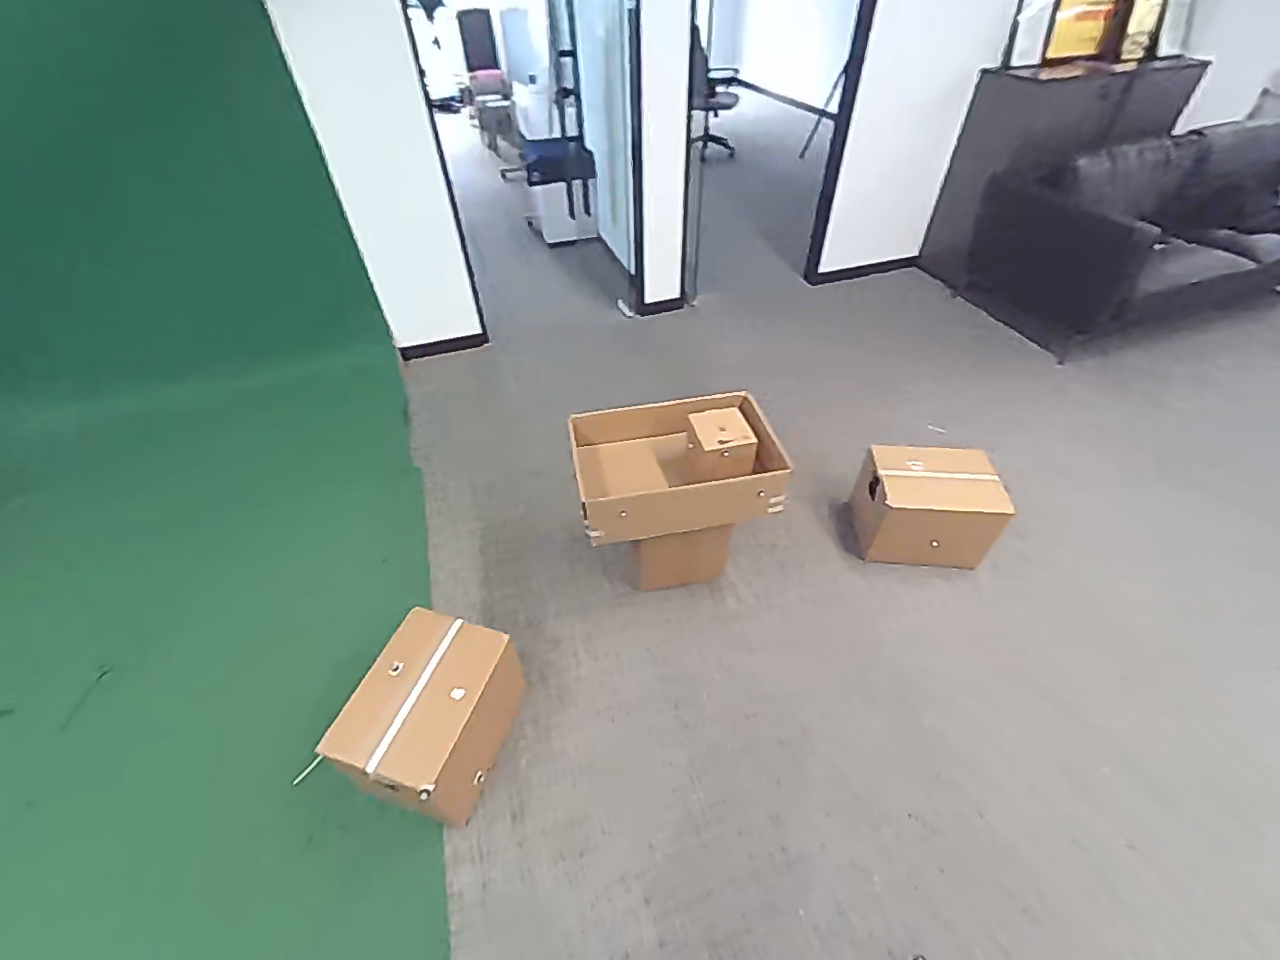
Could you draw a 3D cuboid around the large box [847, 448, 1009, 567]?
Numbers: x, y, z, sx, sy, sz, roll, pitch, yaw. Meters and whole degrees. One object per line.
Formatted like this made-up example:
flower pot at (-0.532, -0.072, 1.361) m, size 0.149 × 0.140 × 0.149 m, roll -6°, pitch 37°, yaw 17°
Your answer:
large box at (1.020, 0.102, 1.974) m, size 0.408 × 0.320 × 0.320 m, roll 2°, pitch 45°, yaw 4°
